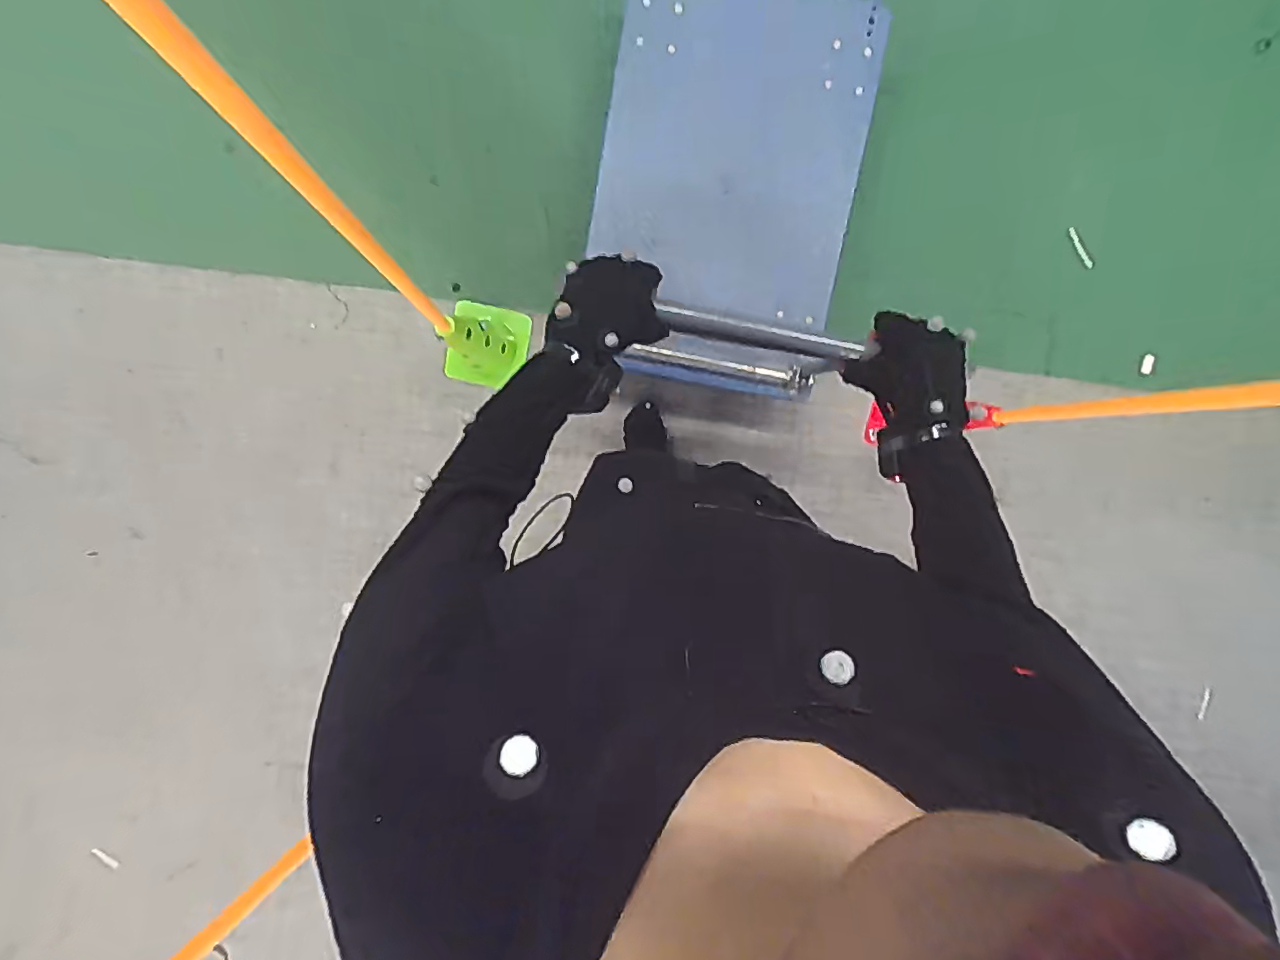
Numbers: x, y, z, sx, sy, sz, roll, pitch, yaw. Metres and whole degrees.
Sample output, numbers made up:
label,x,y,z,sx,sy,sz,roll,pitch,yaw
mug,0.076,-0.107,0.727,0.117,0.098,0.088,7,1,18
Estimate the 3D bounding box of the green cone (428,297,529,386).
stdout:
label,x,y,z,sx,sy,sz,roll,pitch,yaw
green cone,-0.394,-0.339,1.233,0.202,0.368,0.200,12,96,-3
